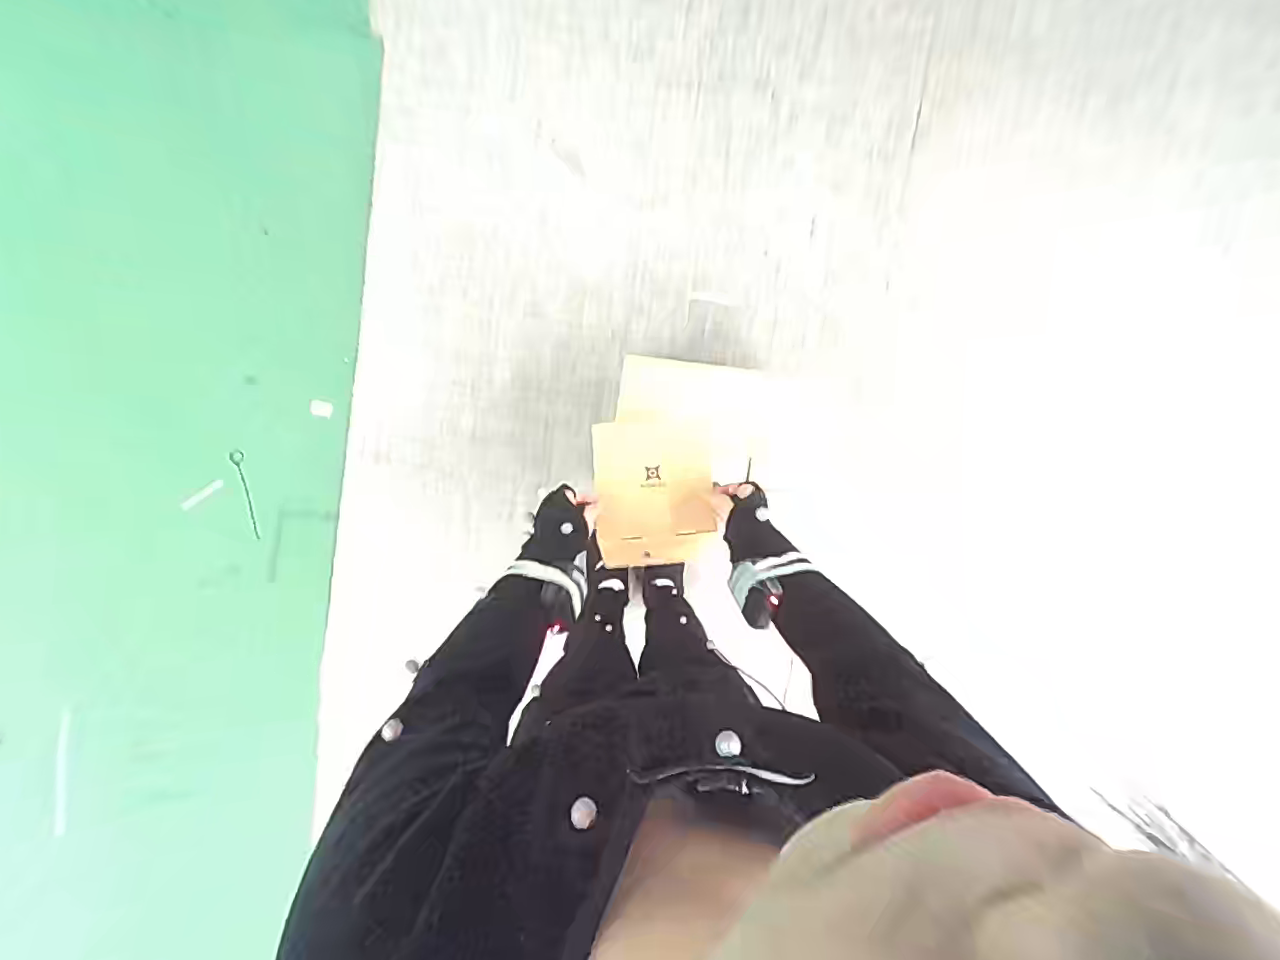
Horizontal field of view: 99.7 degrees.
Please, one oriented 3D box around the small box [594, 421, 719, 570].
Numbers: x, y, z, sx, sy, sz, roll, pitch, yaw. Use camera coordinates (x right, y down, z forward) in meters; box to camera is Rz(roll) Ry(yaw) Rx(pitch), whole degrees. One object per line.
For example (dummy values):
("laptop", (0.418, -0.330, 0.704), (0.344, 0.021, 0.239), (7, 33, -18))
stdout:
("small box", (0.020, 0.030, 0.825), (0.168, 0.176, 0.179), (-5, 69, -1))
